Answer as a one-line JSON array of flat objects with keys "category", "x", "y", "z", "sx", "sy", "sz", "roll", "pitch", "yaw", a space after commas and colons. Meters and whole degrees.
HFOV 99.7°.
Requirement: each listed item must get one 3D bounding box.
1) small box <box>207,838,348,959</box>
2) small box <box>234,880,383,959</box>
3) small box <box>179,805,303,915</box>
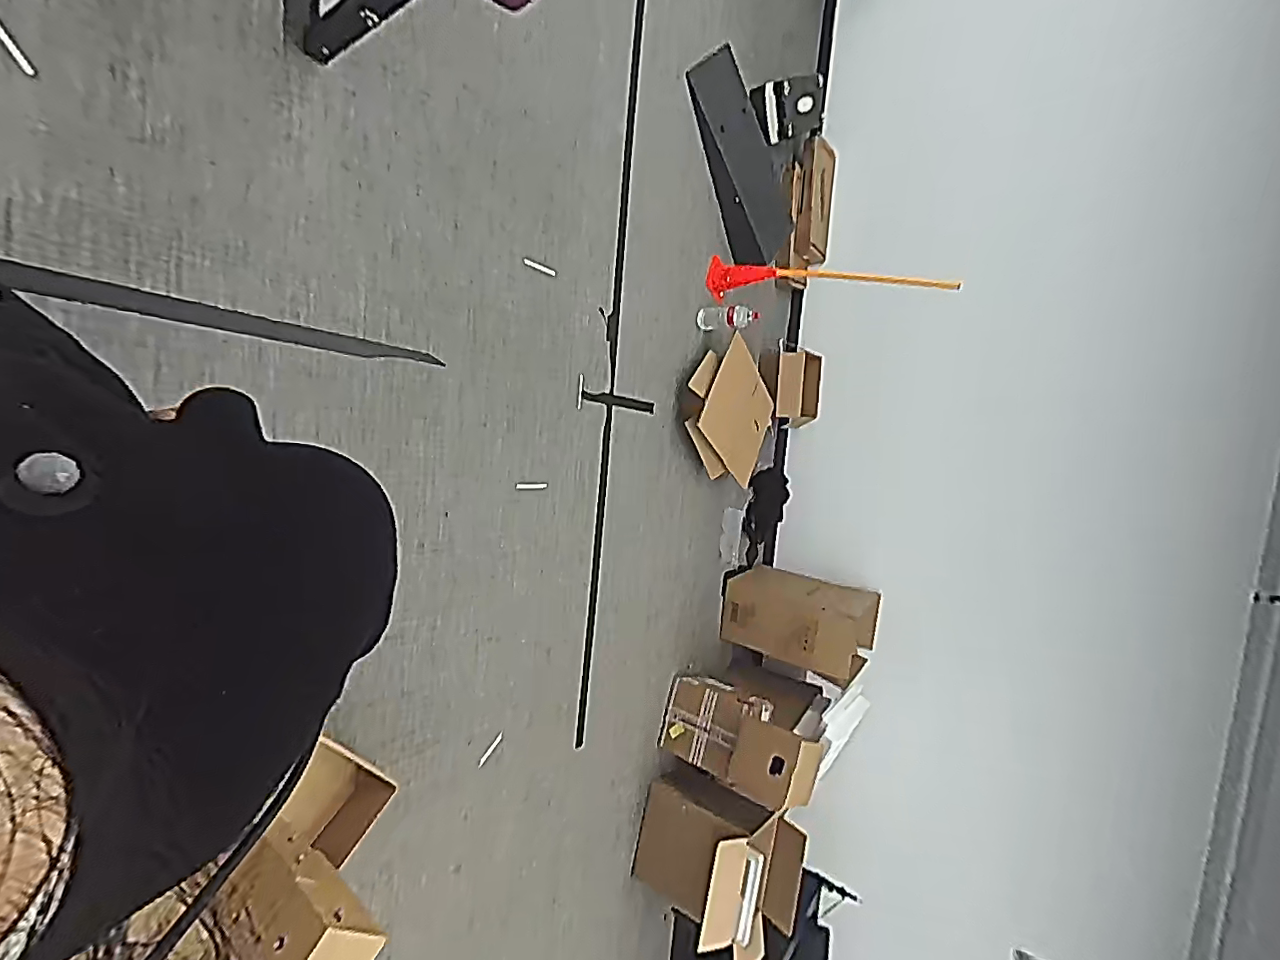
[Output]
[{"category": "small box", "x": -0.816, "y": 0.945, "z": 1.218, "sx": 0.168, "sy": 0.176, "sz": 0.179, "roll": -57, "pitch": 139, "yaw": -28}, {"category": "small box", "x": -0.686, "y": 0.970, "z": 1.119, "sx": 0.168, "sy": 0.176, "sz": 0.179, "roll": -57, "pitch": 138, "yaw": -27}, {"category": "small box", "x": -0.950, "y": 0.927, "z": 1.308, "sx": 0.168, "sy": 0.176, "sz": 0.179, "roll": -54, "pitch": 136, "yaw": -32}]
